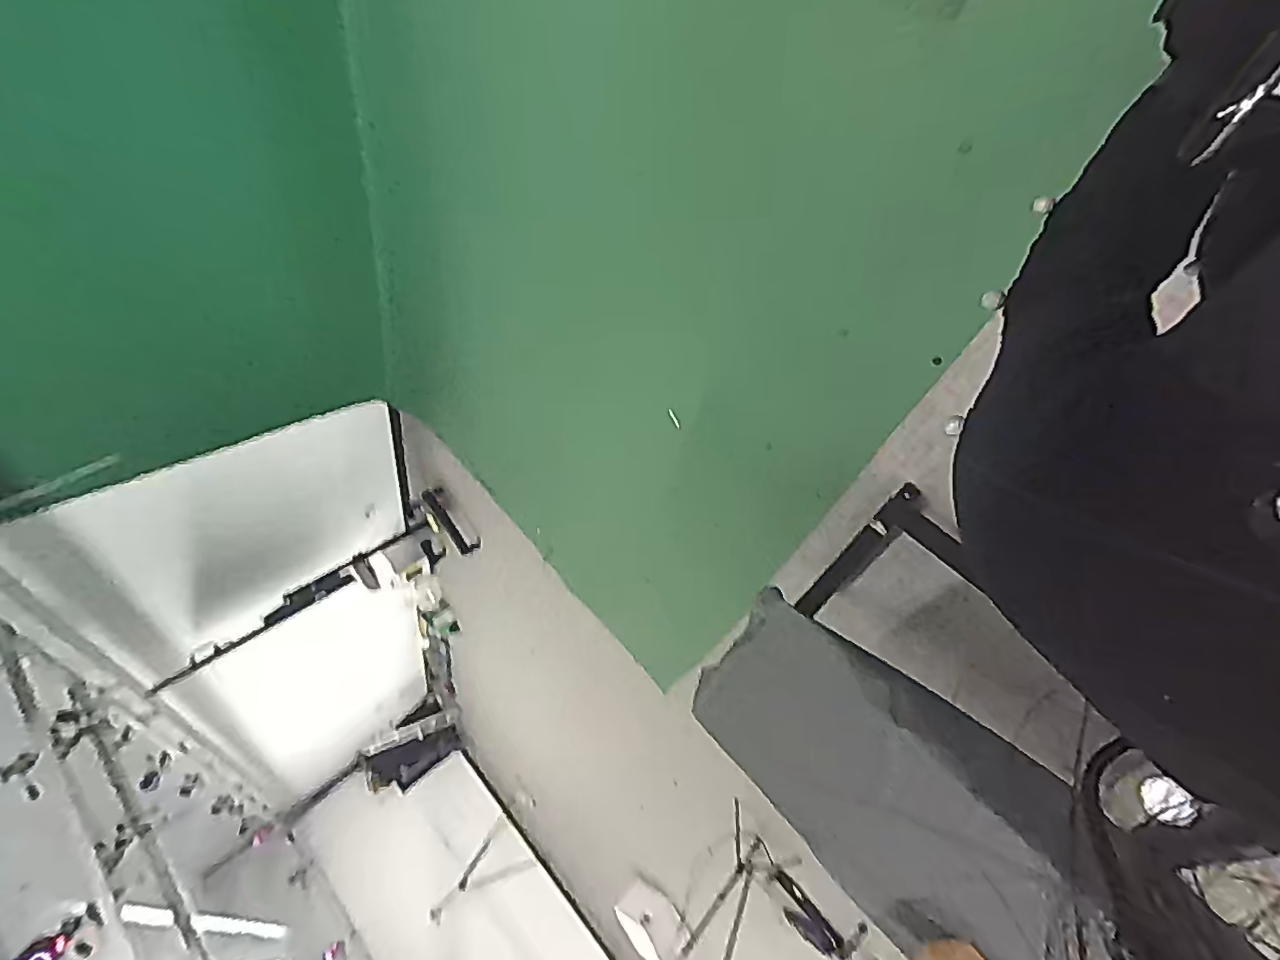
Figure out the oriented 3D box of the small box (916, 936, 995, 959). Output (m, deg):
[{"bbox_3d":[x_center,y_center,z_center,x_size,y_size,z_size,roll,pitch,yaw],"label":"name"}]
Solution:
[{"bbox_3d":[0.710,1.138,1.173,0.179,0.176,0.168,43,140,19],"label":"small box"}]
